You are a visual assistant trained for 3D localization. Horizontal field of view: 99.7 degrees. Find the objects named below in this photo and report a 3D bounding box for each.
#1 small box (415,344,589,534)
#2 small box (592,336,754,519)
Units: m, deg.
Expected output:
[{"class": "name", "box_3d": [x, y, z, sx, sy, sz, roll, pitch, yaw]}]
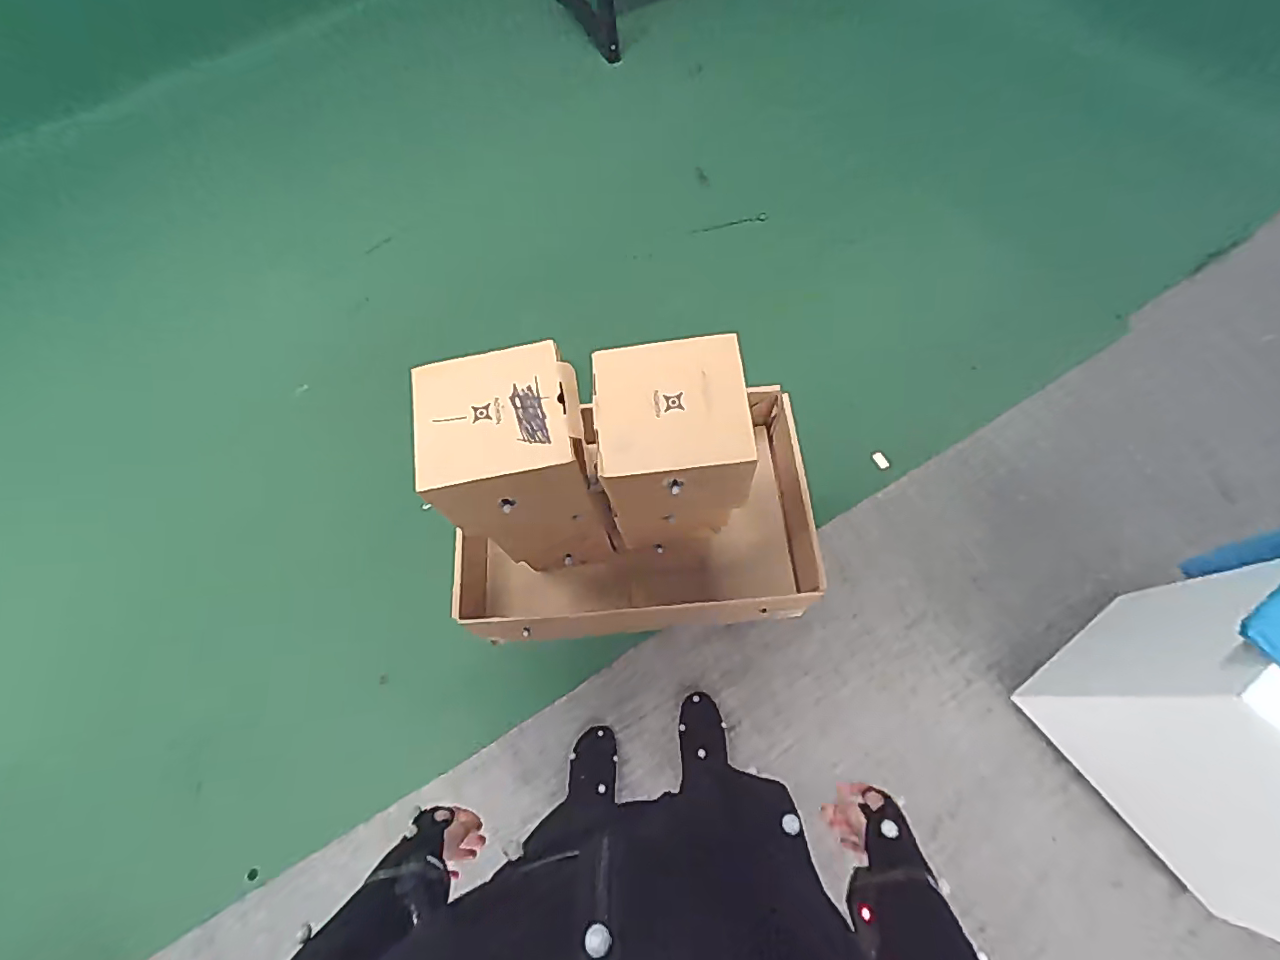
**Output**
[{"class": "small box", "box_3d": [-0.165, -0.044, 0.691, 0.179, 0.176, 0.168, -12, 66, -1]}, {"class": "small box", "box_3d": [0.042, -0.056, 0.686, 0.179, 0.176, 0.168, -6, 68, 4]}]
